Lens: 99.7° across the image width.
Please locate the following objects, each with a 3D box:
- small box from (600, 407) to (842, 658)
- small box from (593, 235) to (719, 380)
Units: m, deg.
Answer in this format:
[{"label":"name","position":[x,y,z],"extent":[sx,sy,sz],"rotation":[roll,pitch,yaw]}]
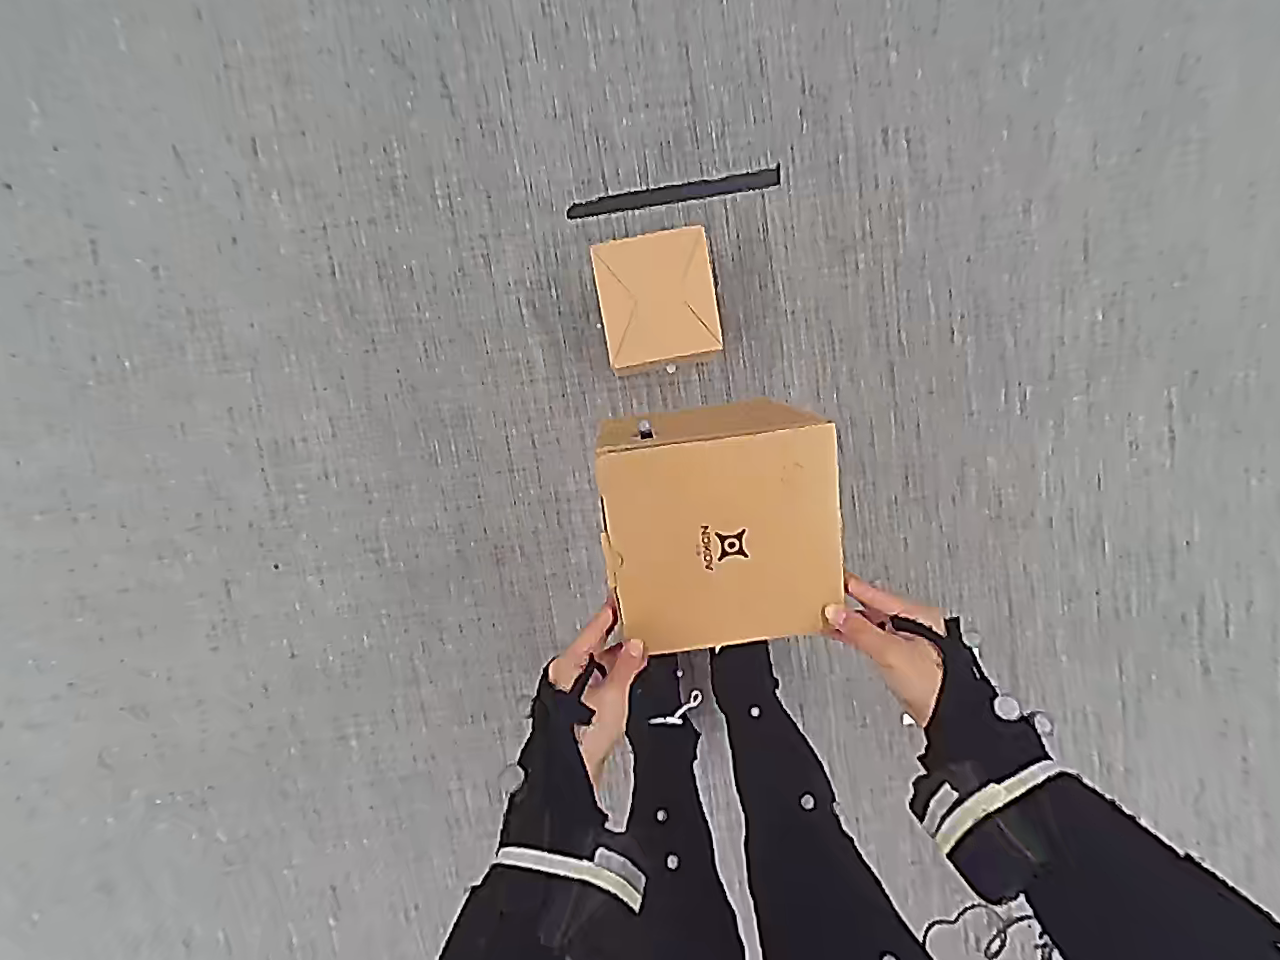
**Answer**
[{"label":"small box","position":[0.062,0.032,0.484],"extent":[0.179,0.176,0.168],"rotation":[-7,104,0]},{"label":"small box","position":[0.024,-0.262,0.849],"extent":[0.168,0.176,0.179],"rotation":[-10,96,1]}]
